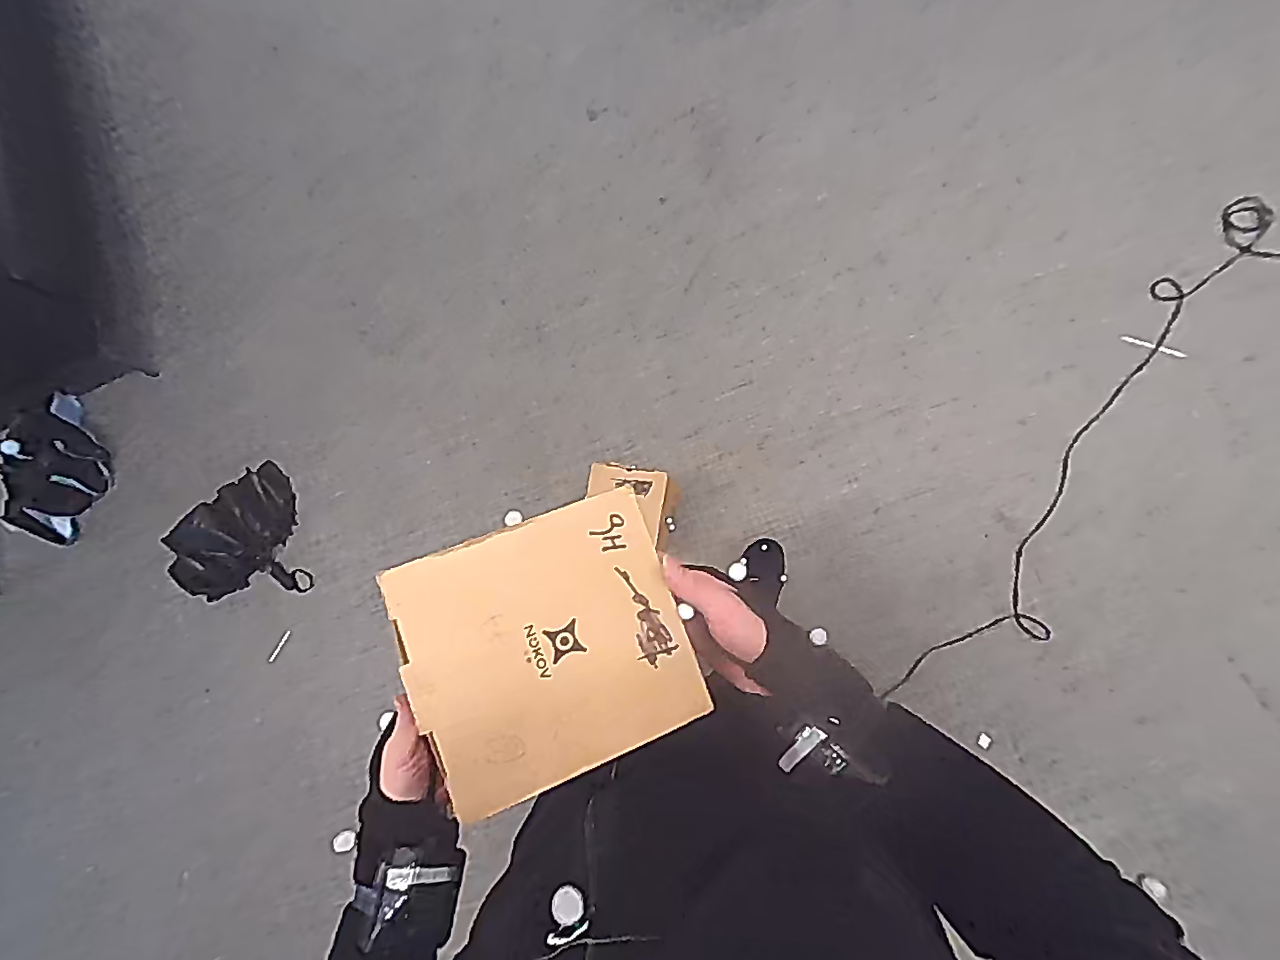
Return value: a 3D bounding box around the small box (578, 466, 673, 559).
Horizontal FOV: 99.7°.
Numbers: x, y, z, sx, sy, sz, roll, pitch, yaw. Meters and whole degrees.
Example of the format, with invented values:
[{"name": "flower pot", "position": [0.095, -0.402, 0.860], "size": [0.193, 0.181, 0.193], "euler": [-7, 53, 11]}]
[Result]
[{"name": "small box", "position": [-0.023, 0.075, 1.200], "size": [0.168, 0.176, 0.179], "euler": [8, 85, 11]}]
